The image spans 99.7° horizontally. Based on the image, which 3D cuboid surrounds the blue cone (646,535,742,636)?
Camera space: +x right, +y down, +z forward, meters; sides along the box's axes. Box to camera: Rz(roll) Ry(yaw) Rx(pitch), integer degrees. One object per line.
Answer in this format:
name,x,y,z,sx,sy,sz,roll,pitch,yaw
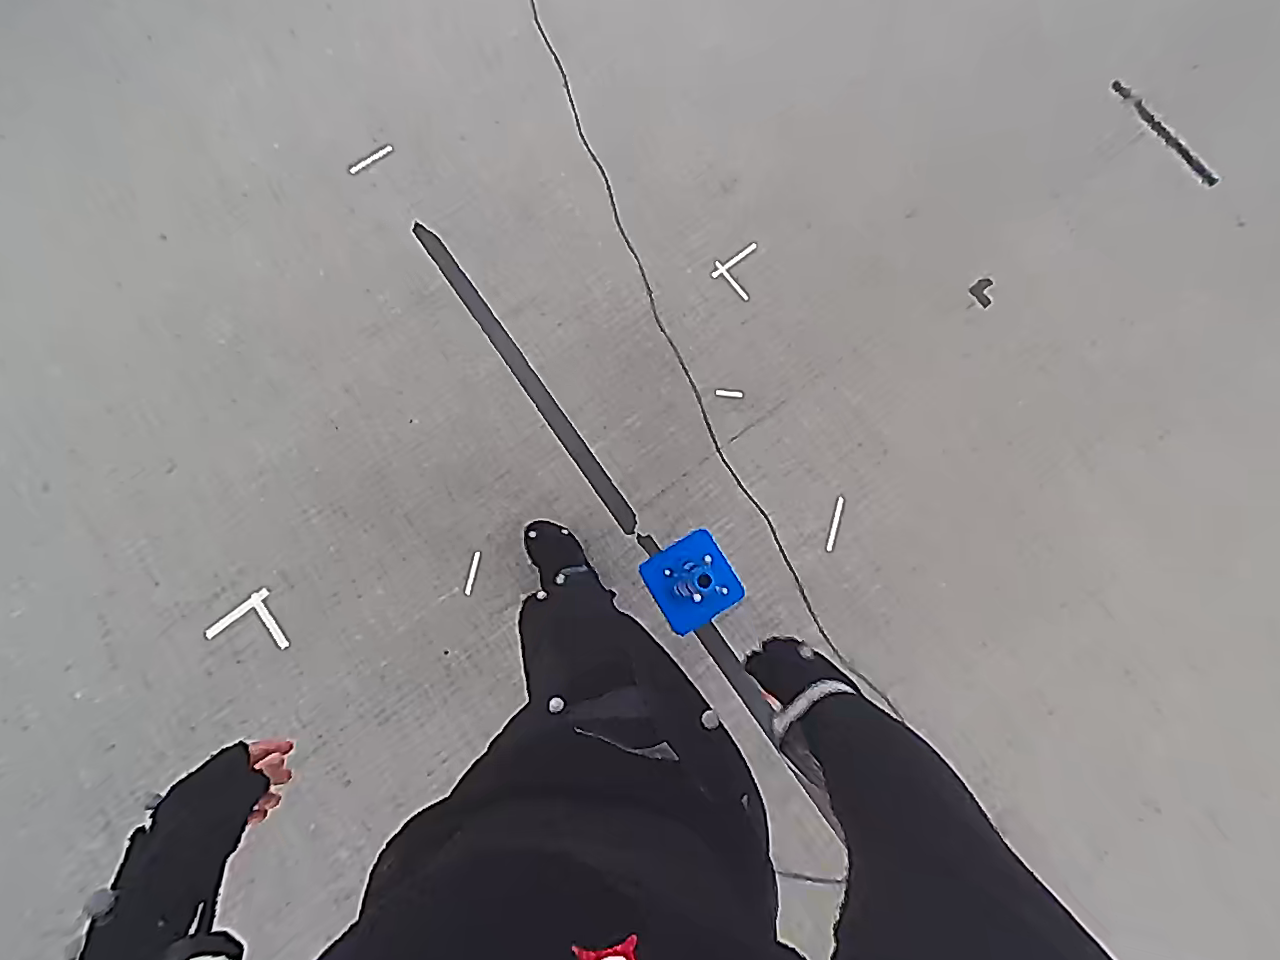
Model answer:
blue cone,0.124,0.214,1.129,0.193,0.380,0.192,-32,80,-5
